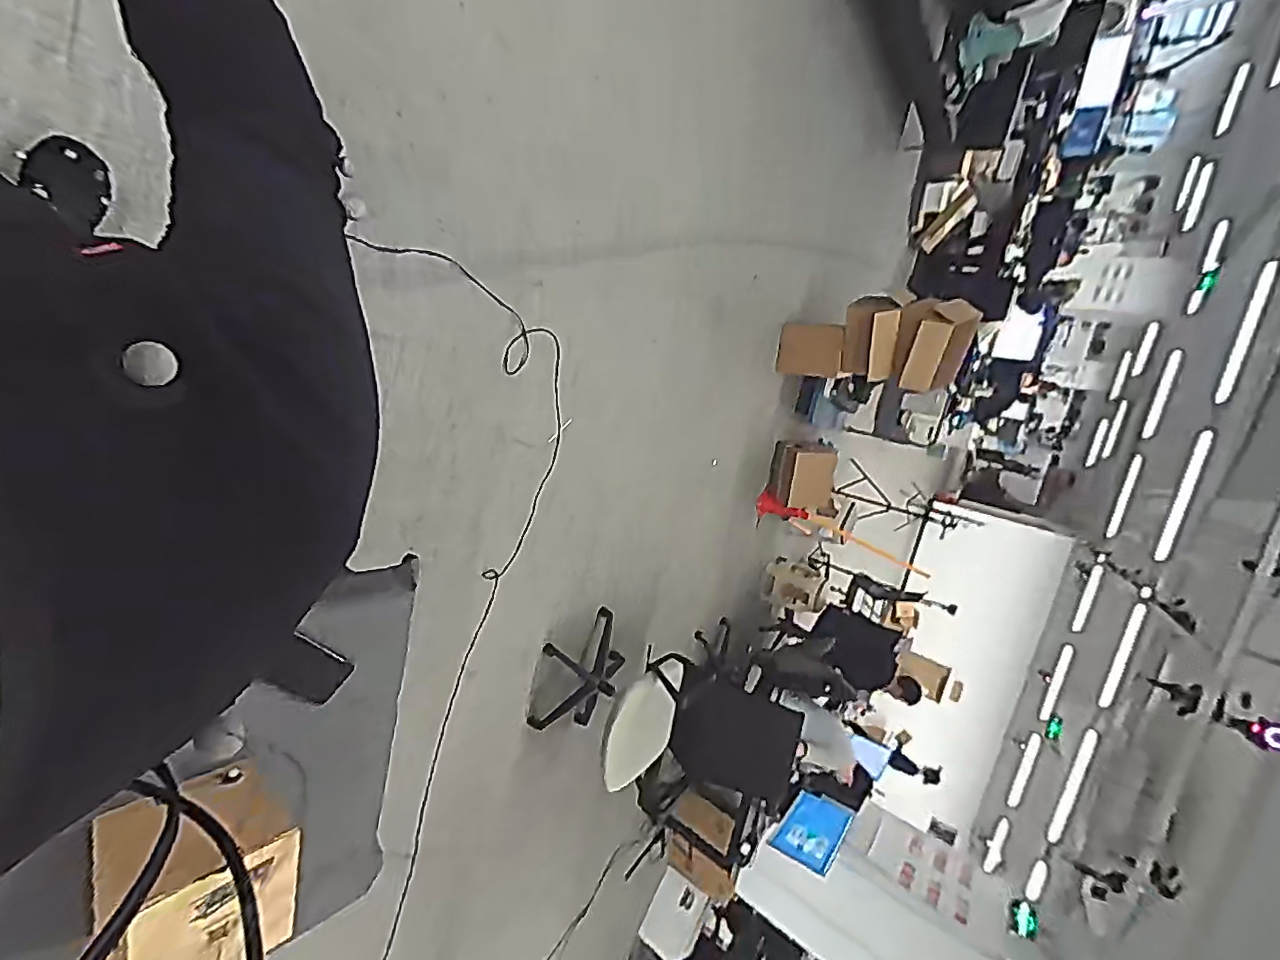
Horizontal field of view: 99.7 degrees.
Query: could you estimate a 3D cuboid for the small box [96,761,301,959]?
[{"bbox_3d":[-0.562,0.495,0.689,0.168,0.176,0.179,-5,111,-54],"label":"small box"}]
